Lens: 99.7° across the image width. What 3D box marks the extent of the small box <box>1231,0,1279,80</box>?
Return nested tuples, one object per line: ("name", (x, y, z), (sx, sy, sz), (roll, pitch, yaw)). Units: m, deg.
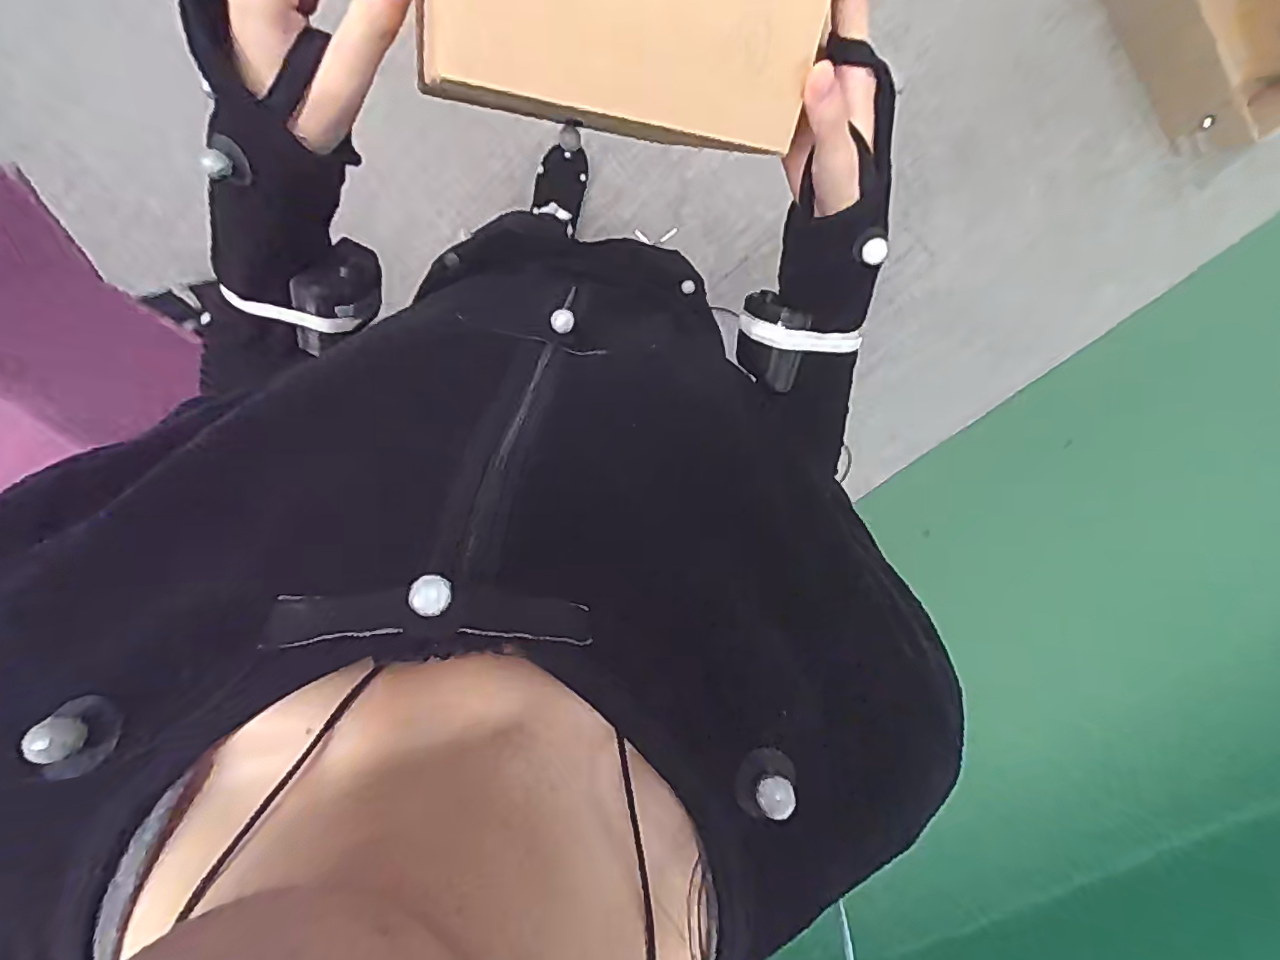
("small box", (1.357, -0.949, 1.080), (0.168, 0.176, 0.179), (-39, 114, 17))
